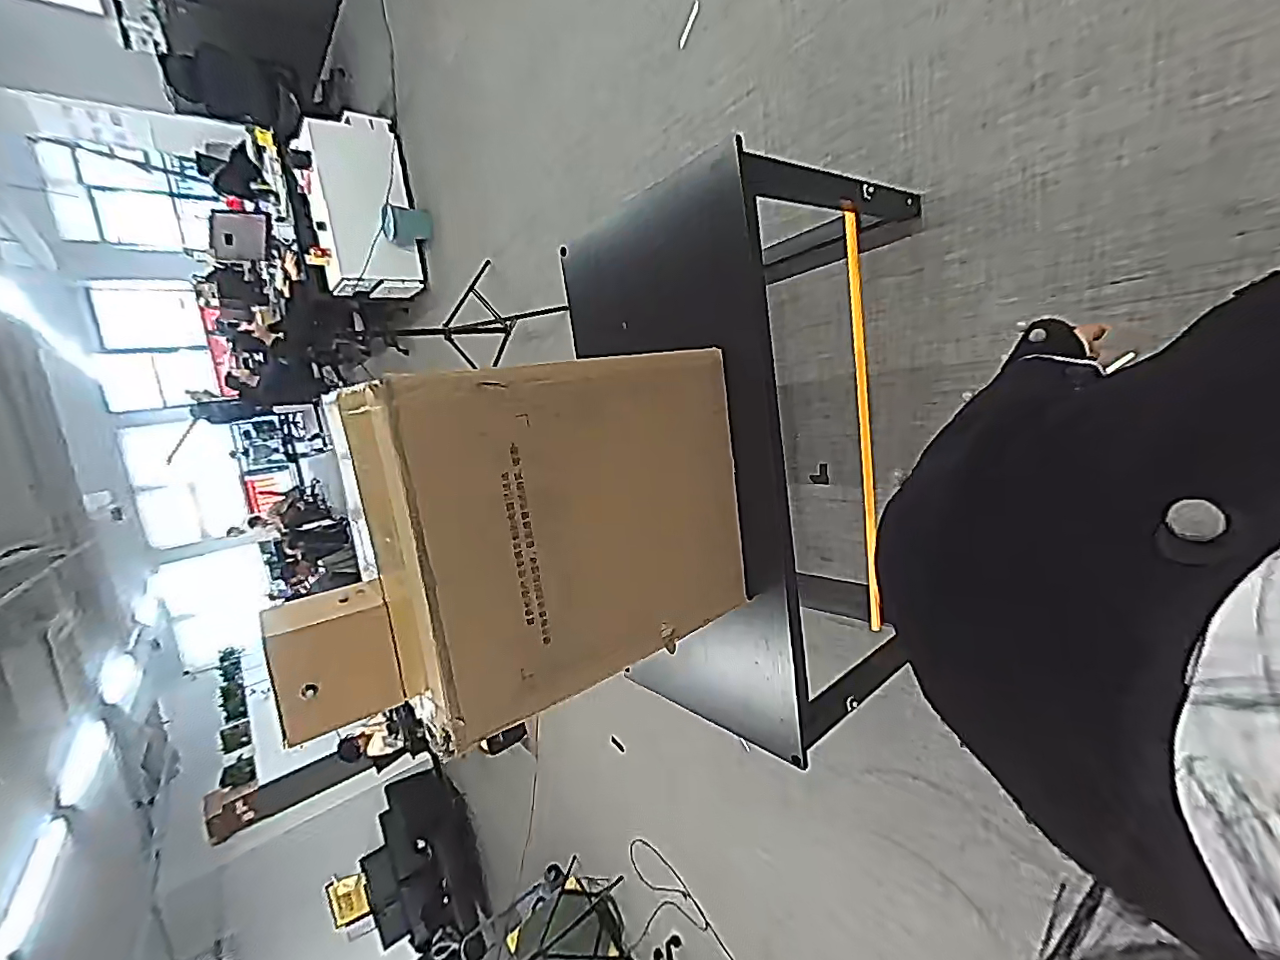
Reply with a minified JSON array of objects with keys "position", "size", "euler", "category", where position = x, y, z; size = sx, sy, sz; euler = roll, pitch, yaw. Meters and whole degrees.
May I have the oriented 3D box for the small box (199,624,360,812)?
[{"position":[-0.541,0.346,0.823],"size":[0.168,0.176,0.179],"euler":[5,105,53],"category":"small box"}]
